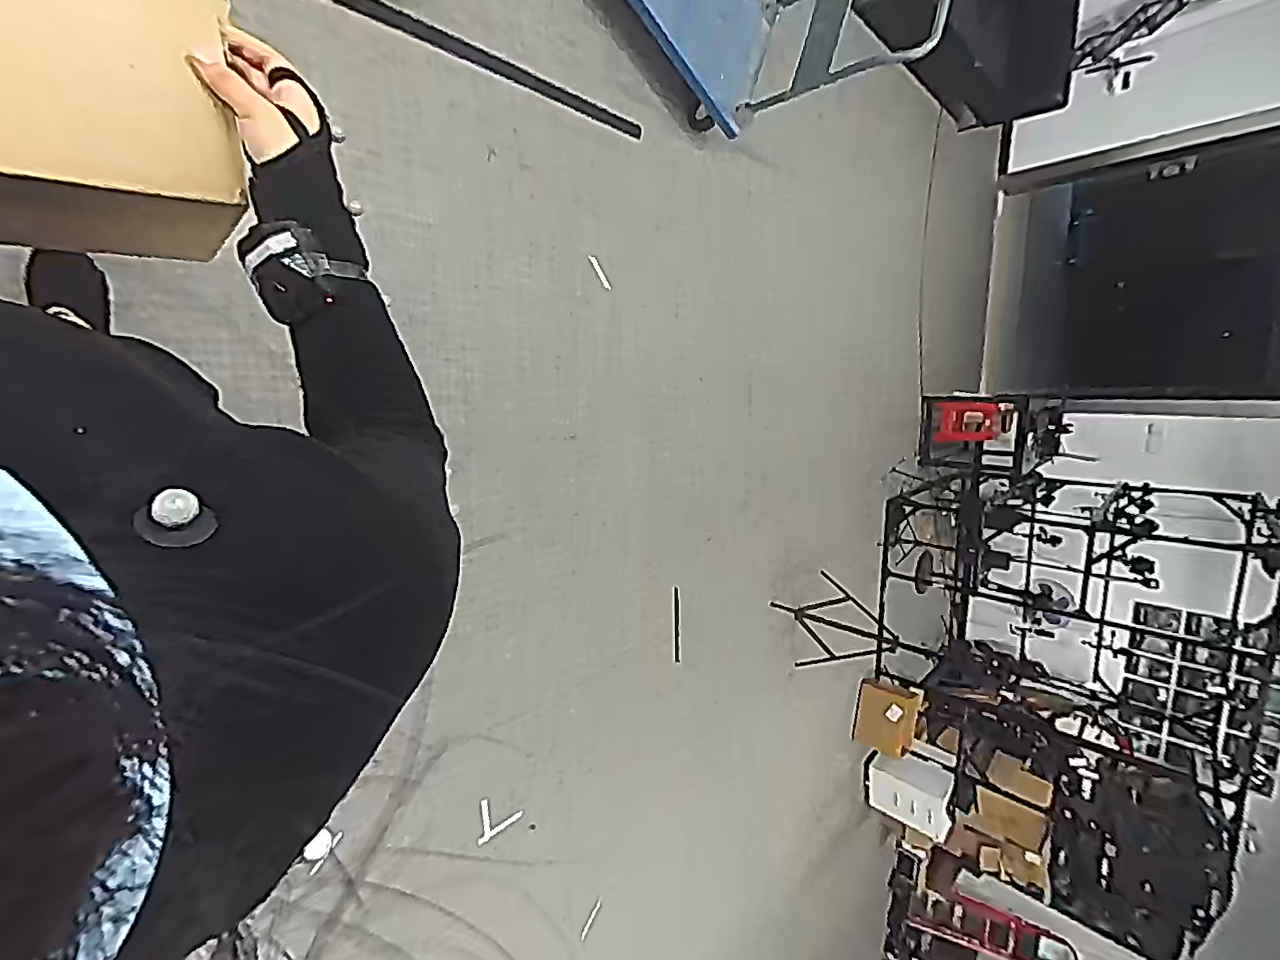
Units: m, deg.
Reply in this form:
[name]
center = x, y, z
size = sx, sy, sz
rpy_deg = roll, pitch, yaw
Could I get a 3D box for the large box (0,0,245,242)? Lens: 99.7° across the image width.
[large box]
center = -0.572, -0.375, 0.389
size = 0.408, 0.320, 0.320
rpy_deg = -12, 106, -40
